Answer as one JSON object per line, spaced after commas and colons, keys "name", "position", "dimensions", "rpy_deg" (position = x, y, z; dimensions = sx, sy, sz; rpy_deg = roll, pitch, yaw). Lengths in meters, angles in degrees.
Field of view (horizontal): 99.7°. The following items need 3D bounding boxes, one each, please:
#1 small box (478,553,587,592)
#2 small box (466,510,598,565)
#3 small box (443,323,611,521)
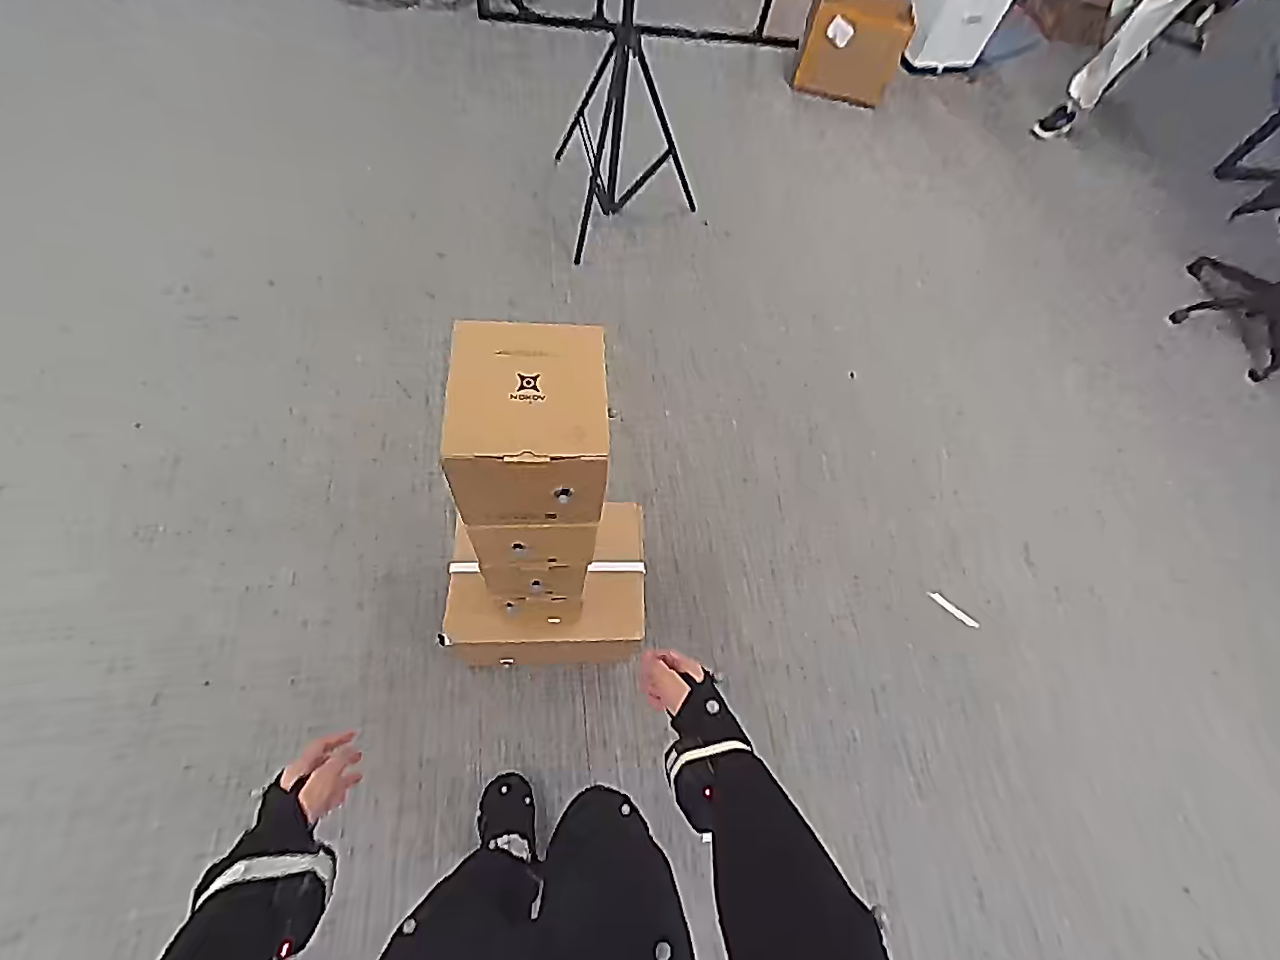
{"name": "small box", "position": [-0.172, 0.089, 0.920], "dimensions": [0.168, 0.176, 0.179], "rpy_deg": [2, 64, -8]}
{"name": "small box", "position": [-0.147, 0.019, 0.774], "dimensions": [0.168, 0.176, 0.179], "rpy_deg": [-1, 63, -9]}
{"name": "small box", "position": [-0.125, -0.058, 0.633], "dimensions": [0.168, 0.176, 0.179], "rpy_deg": [-1, 62, -10]}
